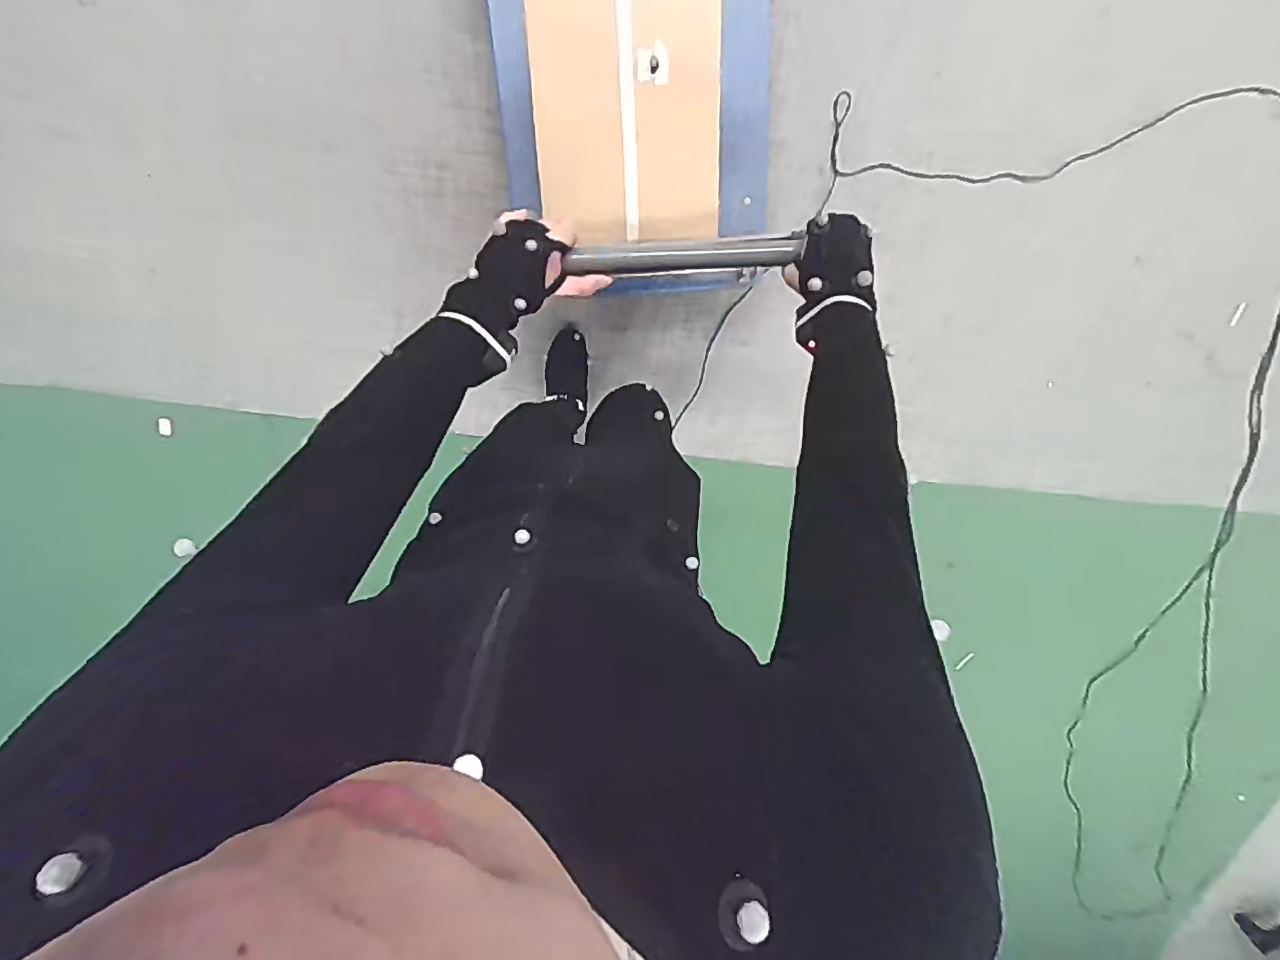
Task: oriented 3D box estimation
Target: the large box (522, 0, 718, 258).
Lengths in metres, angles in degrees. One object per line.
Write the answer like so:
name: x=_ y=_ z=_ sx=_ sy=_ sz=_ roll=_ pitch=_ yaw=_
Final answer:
large box: x=-0.030 y=-0.662 z=1.050 sx=0.320 sy=0.320 sz=0.408 roll=-4 pitch=110 yaw=-3
